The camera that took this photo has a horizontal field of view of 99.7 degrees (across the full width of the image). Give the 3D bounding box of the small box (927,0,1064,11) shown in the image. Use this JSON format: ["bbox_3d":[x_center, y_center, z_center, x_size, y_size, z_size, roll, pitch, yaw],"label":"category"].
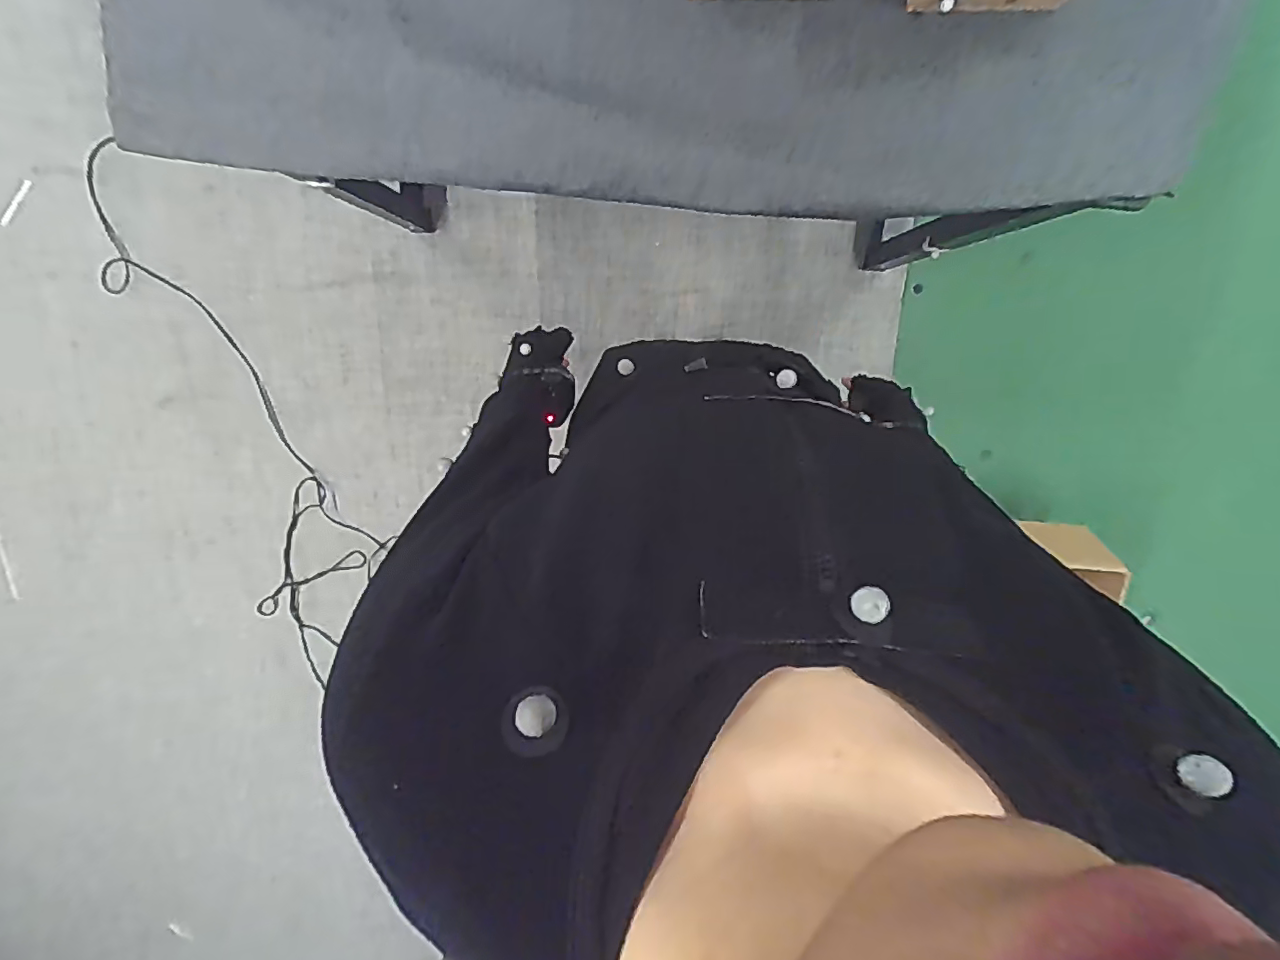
[{"bbox_3d":[0.370,-0.569,0.489,0.168,0.176,0.179,1,103,1],"label":"small box"}]
